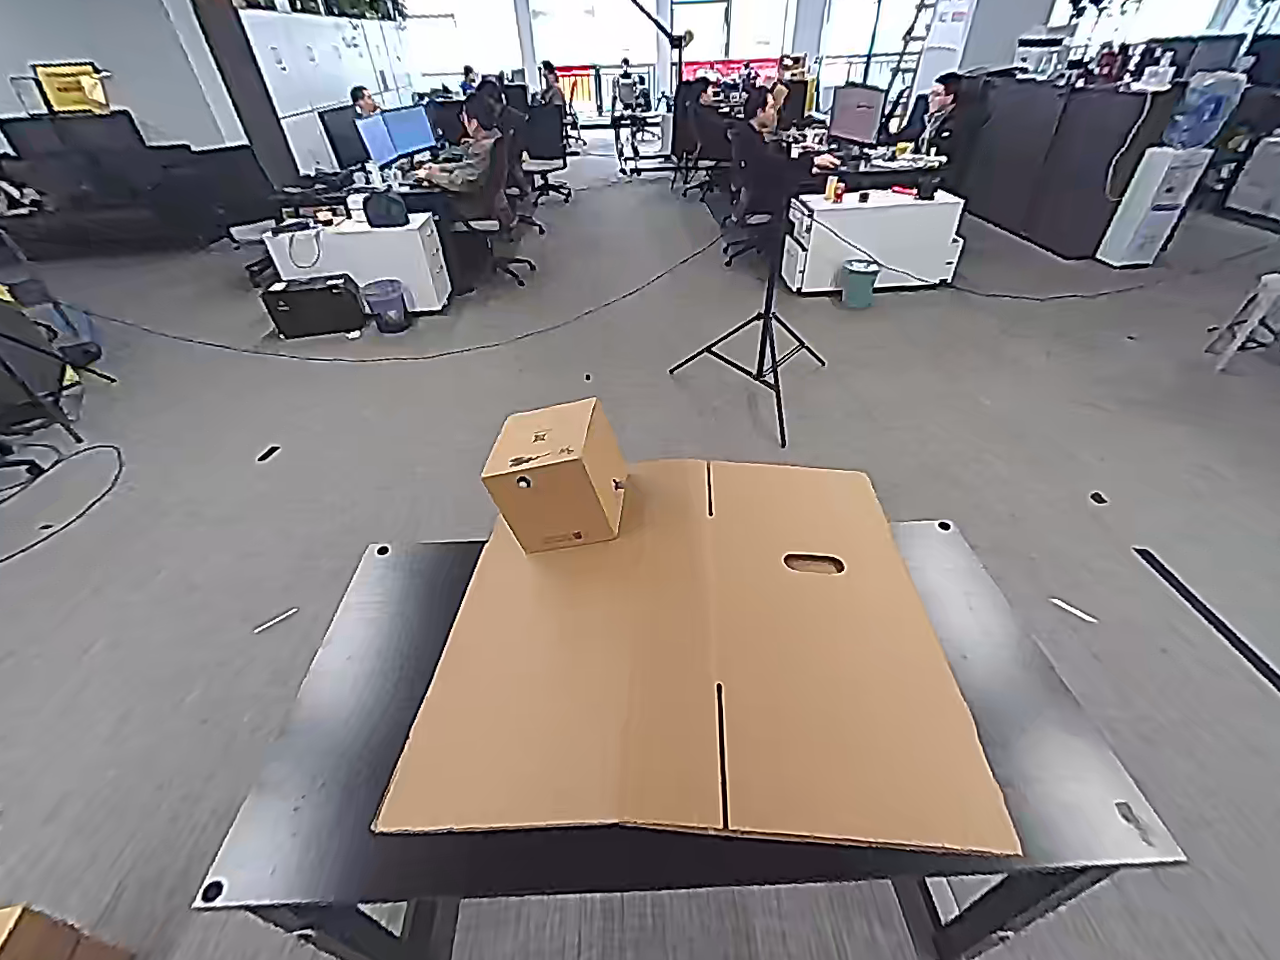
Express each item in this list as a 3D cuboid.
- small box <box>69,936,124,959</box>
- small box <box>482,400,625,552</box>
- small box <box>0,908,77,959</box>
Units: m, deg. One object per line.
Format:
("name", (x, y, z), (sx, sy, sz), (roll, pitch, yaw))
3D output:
("small box", (-1.186, 1.041, 1.068), (0.168, 0.176, 0.179), (-5, 40, -3))
("small box", (-0.130, -0.006, 0.901), (0.168, 0.176, 0.179), (-11, 36, 13))
("small box", (-1.194, 0.911, 0.970), (0.168, 0.176, 0.179), (-7, 38, -6))
